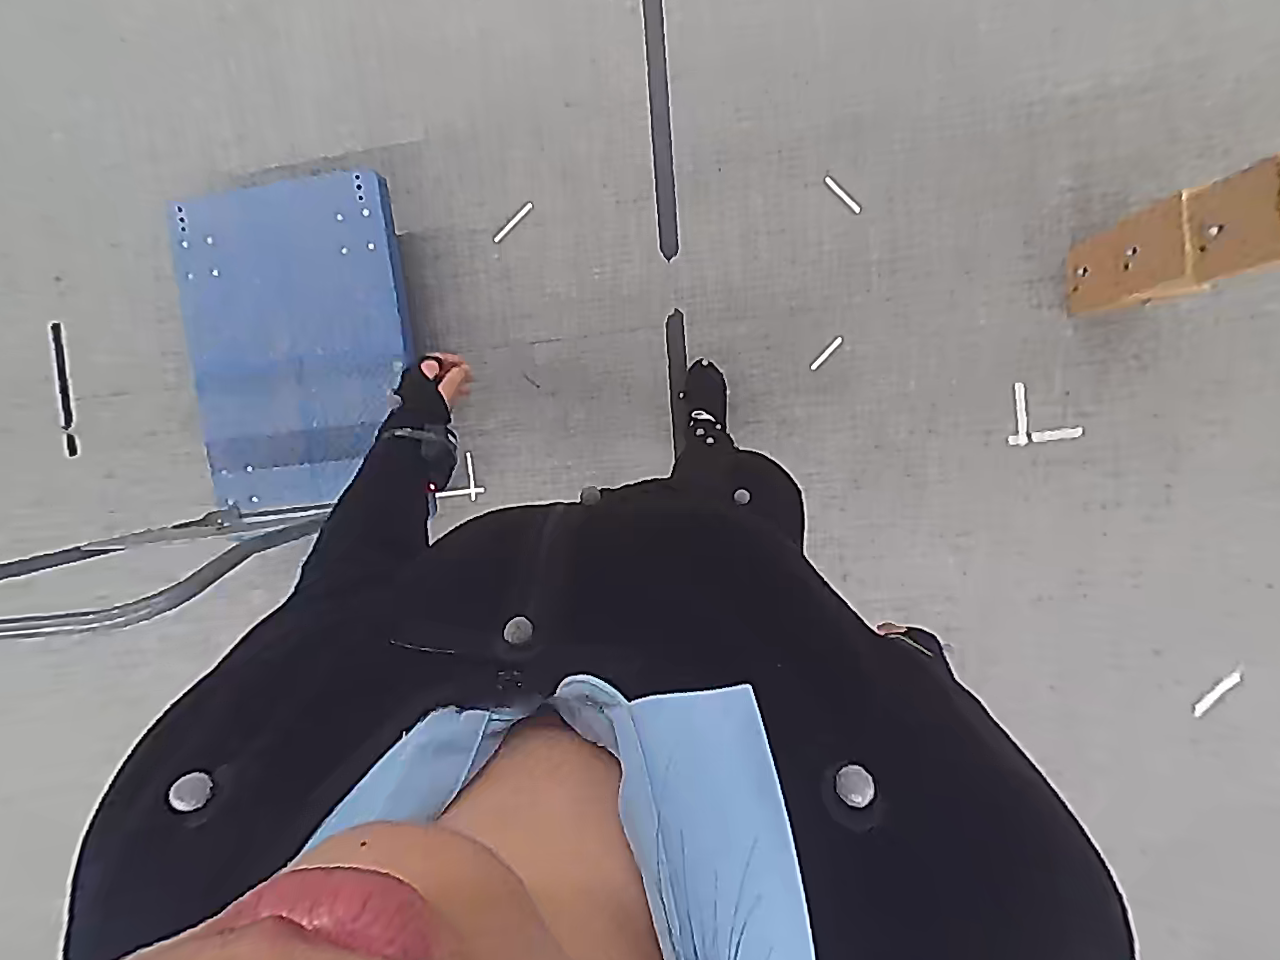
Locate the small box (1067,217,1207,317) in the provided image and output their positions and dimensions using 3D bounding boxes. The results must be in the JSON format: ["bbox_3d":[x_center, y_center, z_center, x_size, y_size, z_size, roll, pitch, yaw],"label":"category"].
[{"bbox_3d":[1.141,-0.486,1.251,0.179,0.176,0.168,-6,94,7],"label":"small box"}]

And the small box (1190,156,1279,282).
[{"bbox_3d":[1.114,-0.456,0.924,0.179,0.176,0.168,-10,93,8],"label":"small box"}]
